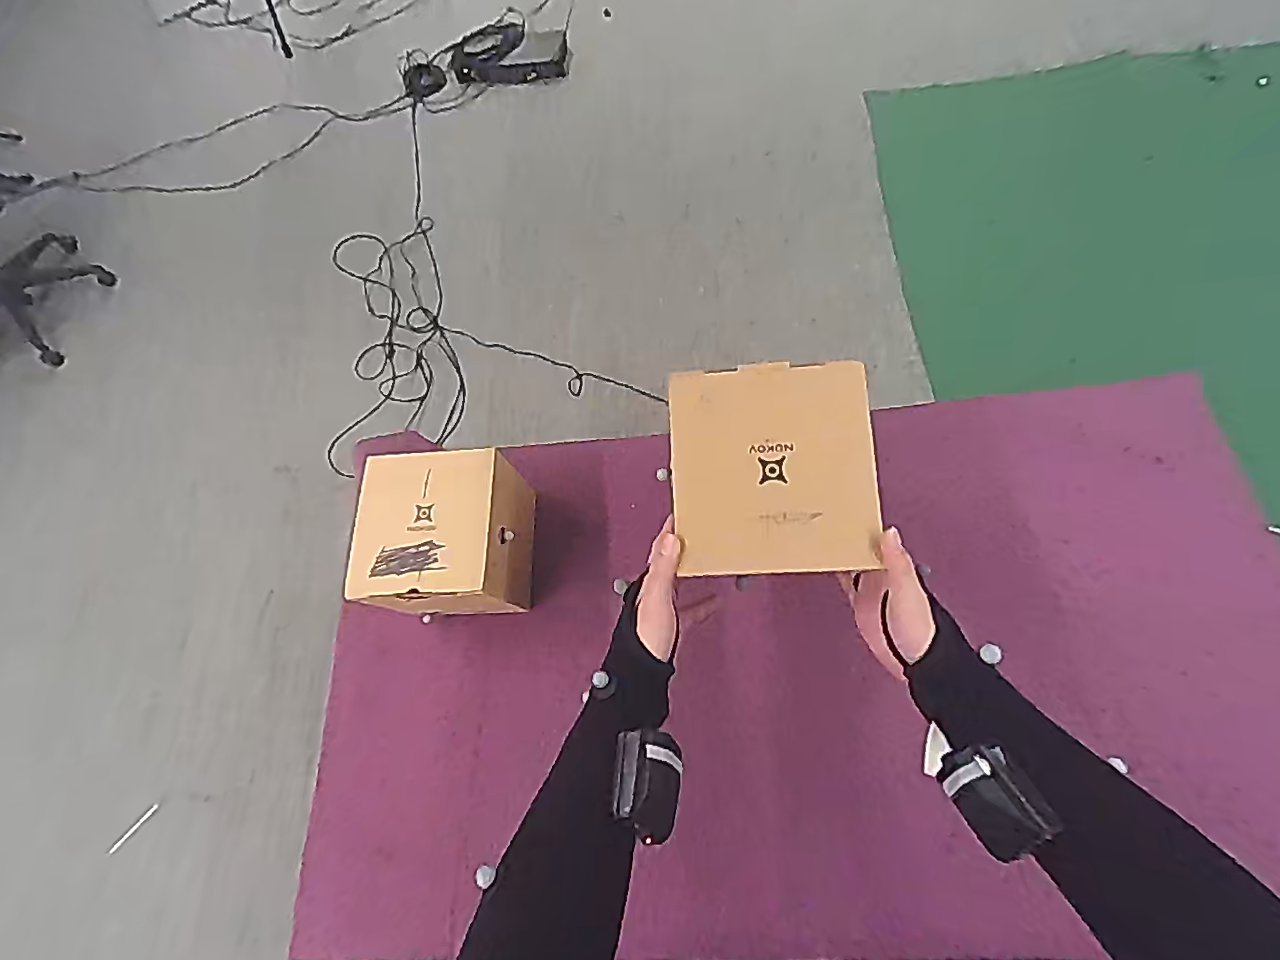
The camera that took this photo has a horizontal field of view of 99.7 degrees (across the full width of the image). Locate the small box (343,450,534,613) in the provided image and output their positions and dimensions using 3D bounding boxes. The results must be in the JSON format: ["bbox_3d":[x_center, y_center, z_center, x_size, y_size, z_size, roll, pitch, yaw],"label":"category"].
[{"bbox_3d":[-0.239,0.076,0.689,0.168,0.176,0.179,-2,70,5],"label":"small box"}]

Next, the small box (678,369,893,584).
[{"bbox_3d":[0.120,0.008,0.516,0.168,0.176,0.179,-2,82,4],"label":"small box"}]
